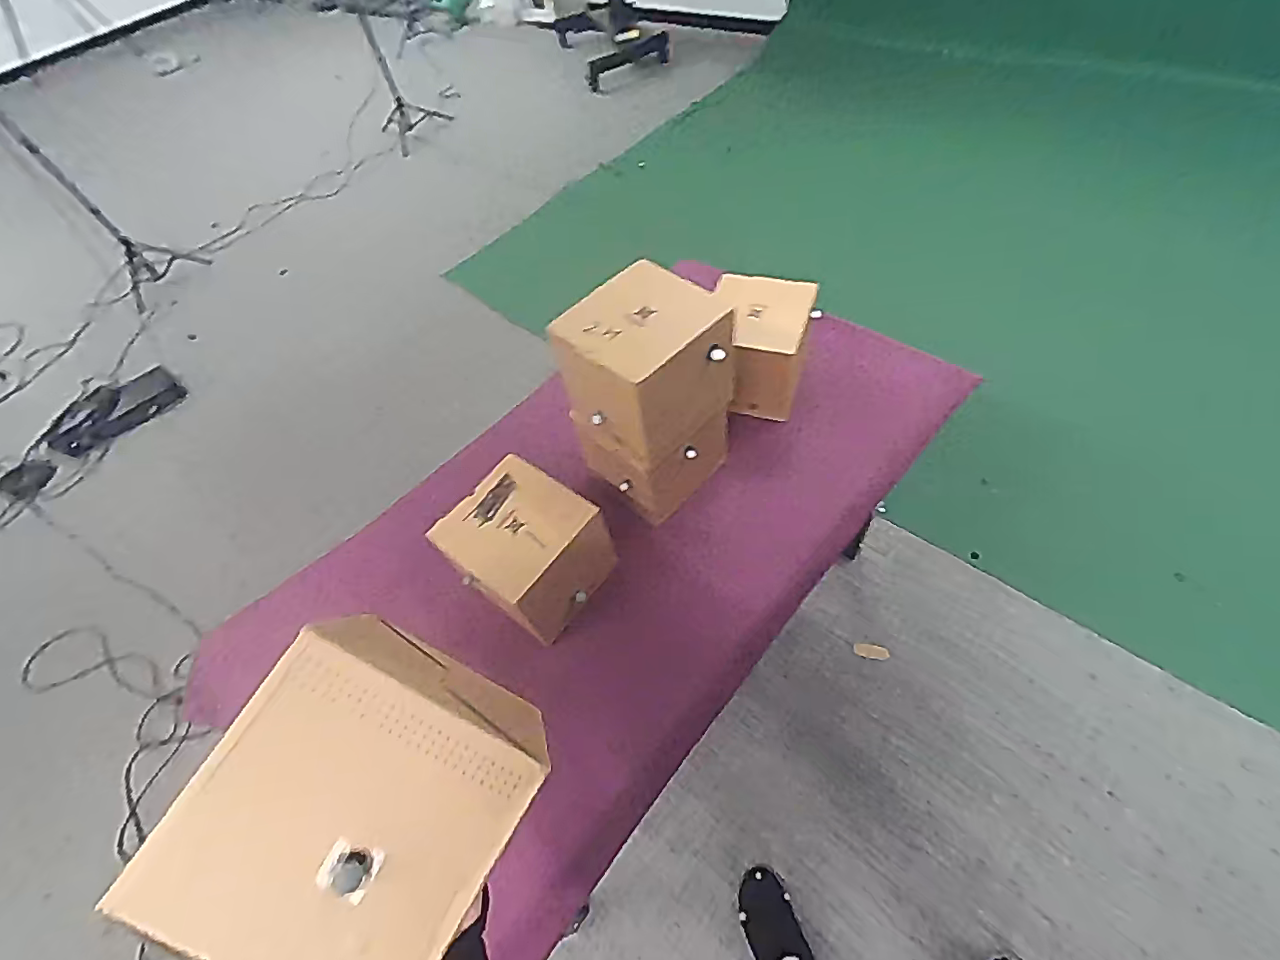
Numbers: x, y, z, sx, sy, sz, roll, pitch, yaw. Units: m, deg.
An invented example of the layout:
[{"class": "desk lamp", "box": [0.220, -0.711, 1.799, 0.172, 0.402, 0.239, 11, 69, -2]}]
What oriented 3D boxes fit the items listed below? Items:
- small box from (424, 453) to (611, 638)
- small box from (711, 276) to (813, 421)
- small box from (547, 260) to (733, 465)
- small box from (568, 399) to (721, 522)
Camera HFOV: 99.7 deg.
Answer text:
[{"class": "small box", "box": [-0.165, 0.099, 0.778, 0.179, 0.176, 0.168, 30, 65, 25]}, {"class": "small box", "box": [0.196, -0.229, 0.953, 0.168, 0.176, 0.179, 14, 59, 18]}, {"class": "small box", "box": [0.005, -0.156, 0.730, 0.179, 0.176, 0.168, -41, 60, -19]}, {"class": "small box", "box": [0.016, -0.065, 0.867, 0.179, 0.176, 0.168, -41, 60, -19]}]
